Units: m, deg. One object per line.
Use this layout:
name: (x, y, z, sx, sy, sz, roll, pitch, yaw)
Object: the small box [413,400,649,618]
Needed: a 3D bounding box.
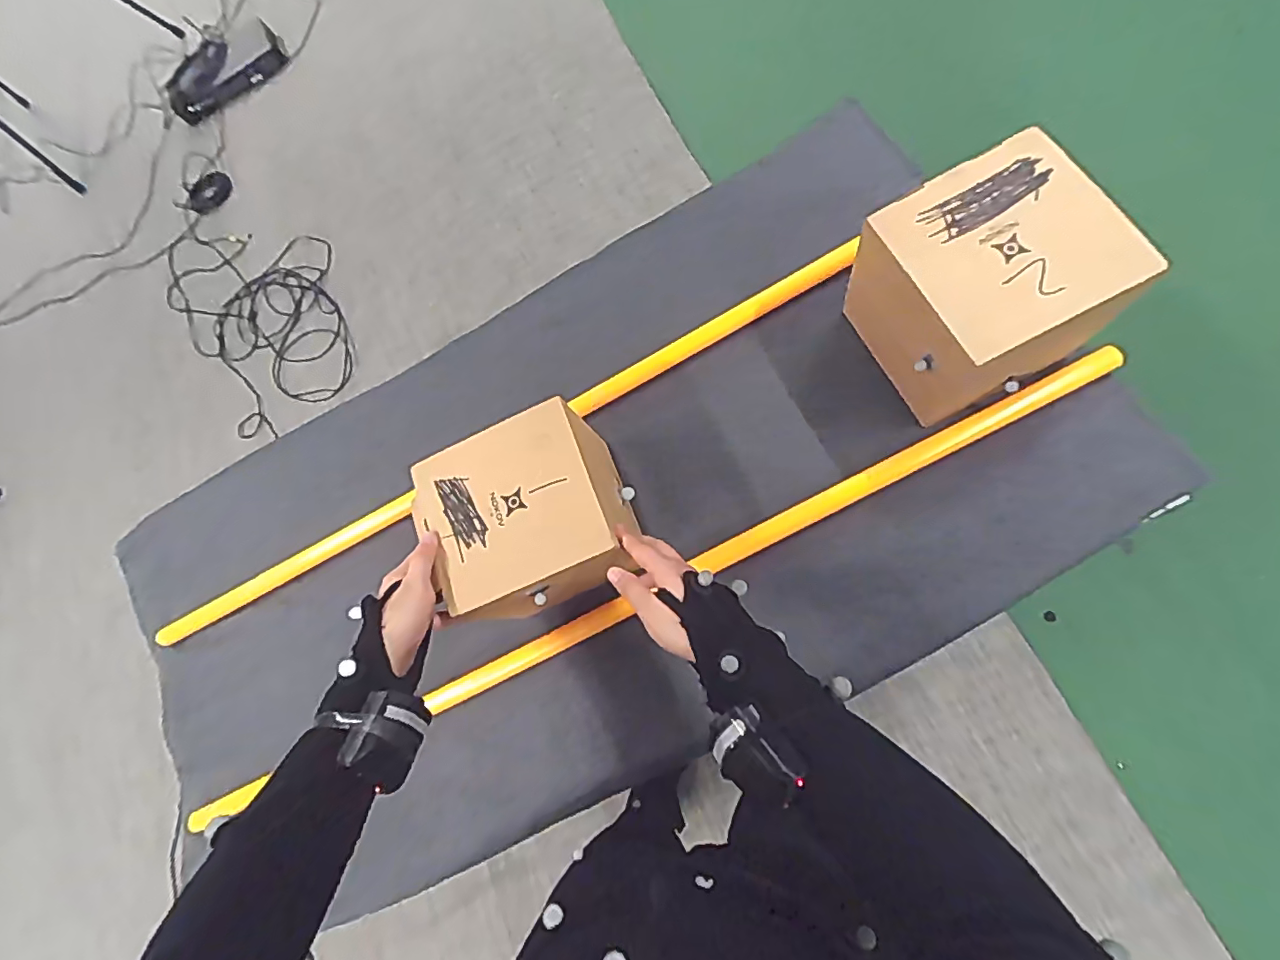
small box: (-0.109, 0.044, 0.595, 0.179, 0.176, 0.168, -24, 73, 6)
